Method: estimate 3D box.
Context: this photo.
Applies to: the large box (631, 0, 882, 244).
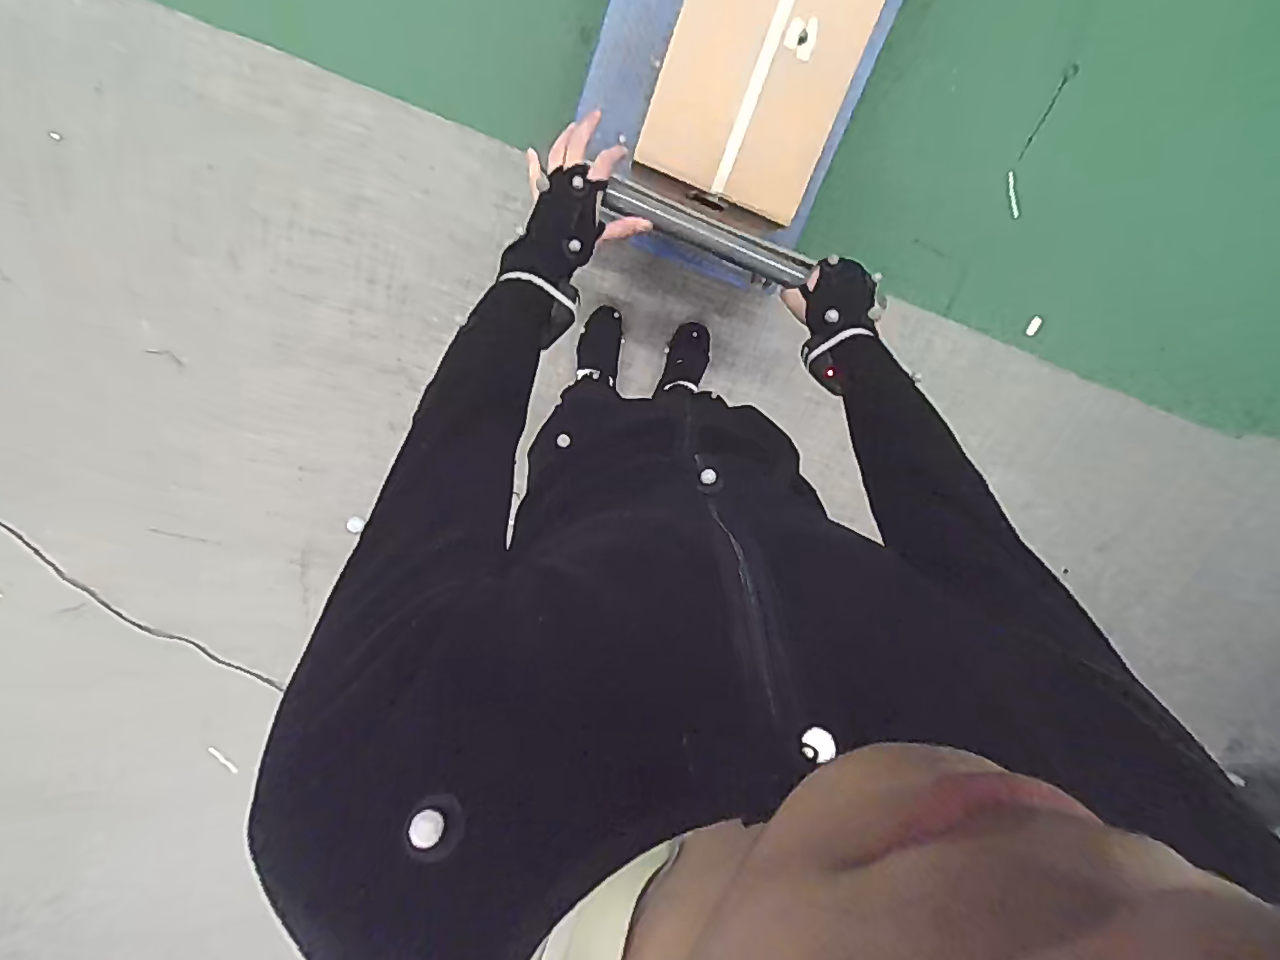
[{"bbox_3d":[0.190,-0.731,1.064,0.320,0.320,0.408,18,107,-10],"label":"large box"}]
